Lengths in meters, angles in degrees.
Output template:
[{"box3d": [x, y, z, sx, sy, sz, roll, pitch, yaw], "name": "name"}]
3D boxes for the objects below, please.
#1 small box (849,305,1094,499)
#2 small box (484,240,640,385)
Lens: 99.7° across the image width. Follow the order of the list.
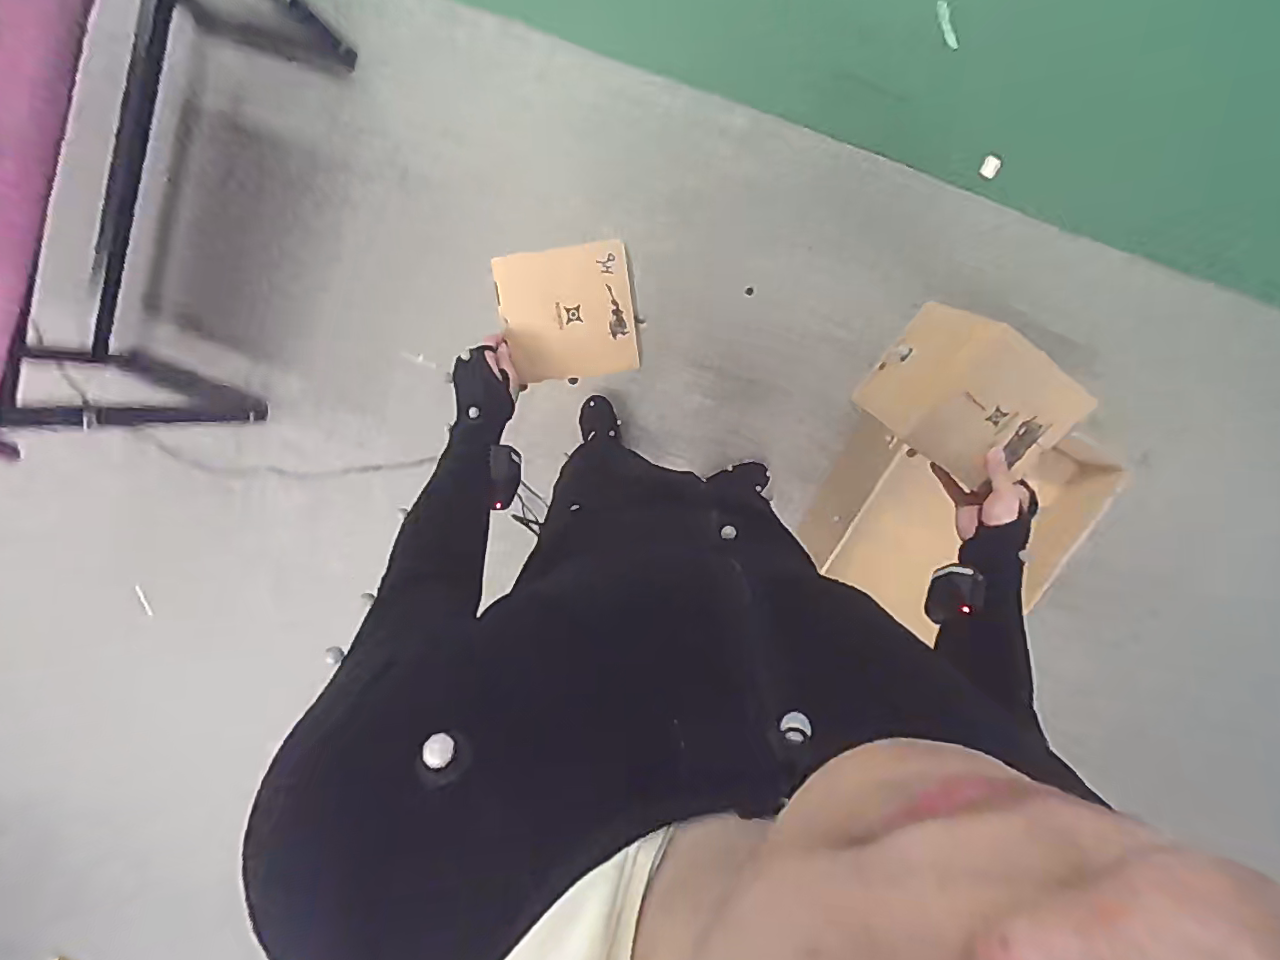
[{"box3d": [0.417, -0.111, 0.711, 0.179, 0.176, 0.168, 29, 111, -15], "name": "small box"}, {"box3d": [-0.101, -0.234, 0.780, 0.179, 0.176, 0.168, -7, 105, 5], "name": "small box"}]
